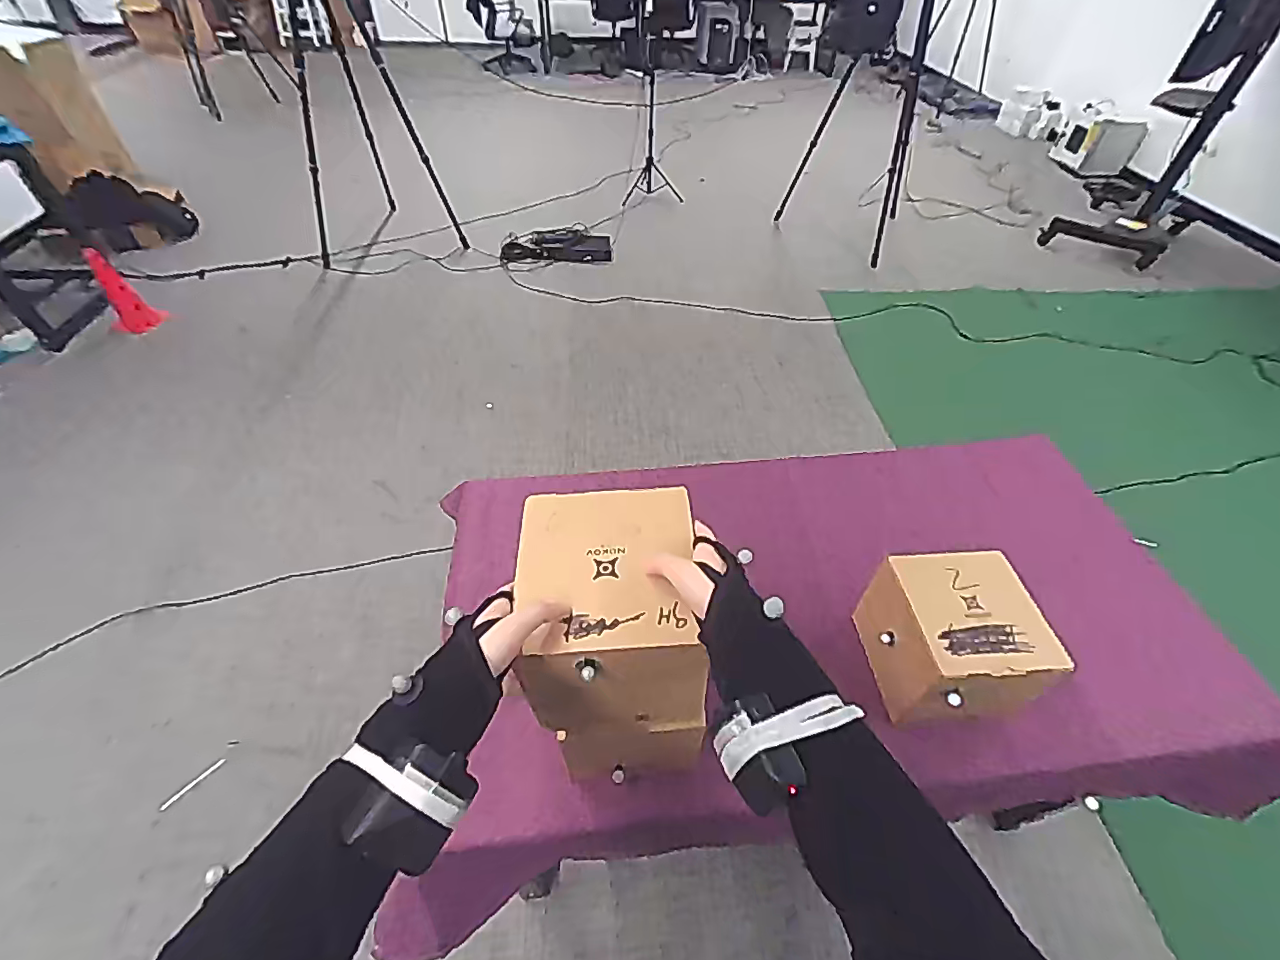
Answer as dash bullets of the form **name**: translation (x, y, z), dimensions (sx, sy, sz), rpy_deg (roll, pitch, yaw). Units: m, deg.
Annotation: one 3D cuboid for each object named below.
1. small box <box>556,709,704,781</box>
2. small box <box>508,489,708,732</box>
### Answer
- **small box**: translation (-0.017, 0.268, 0.704), dimensions (0.168, 0.176, 0.179), rpy_deg (-4, 48, -3)
- **small box**: translation (-0.026, 0.133, 0.553), dimensions (0.168, 0.176, 0.179), rpy_deg (-5, 45, 1)
